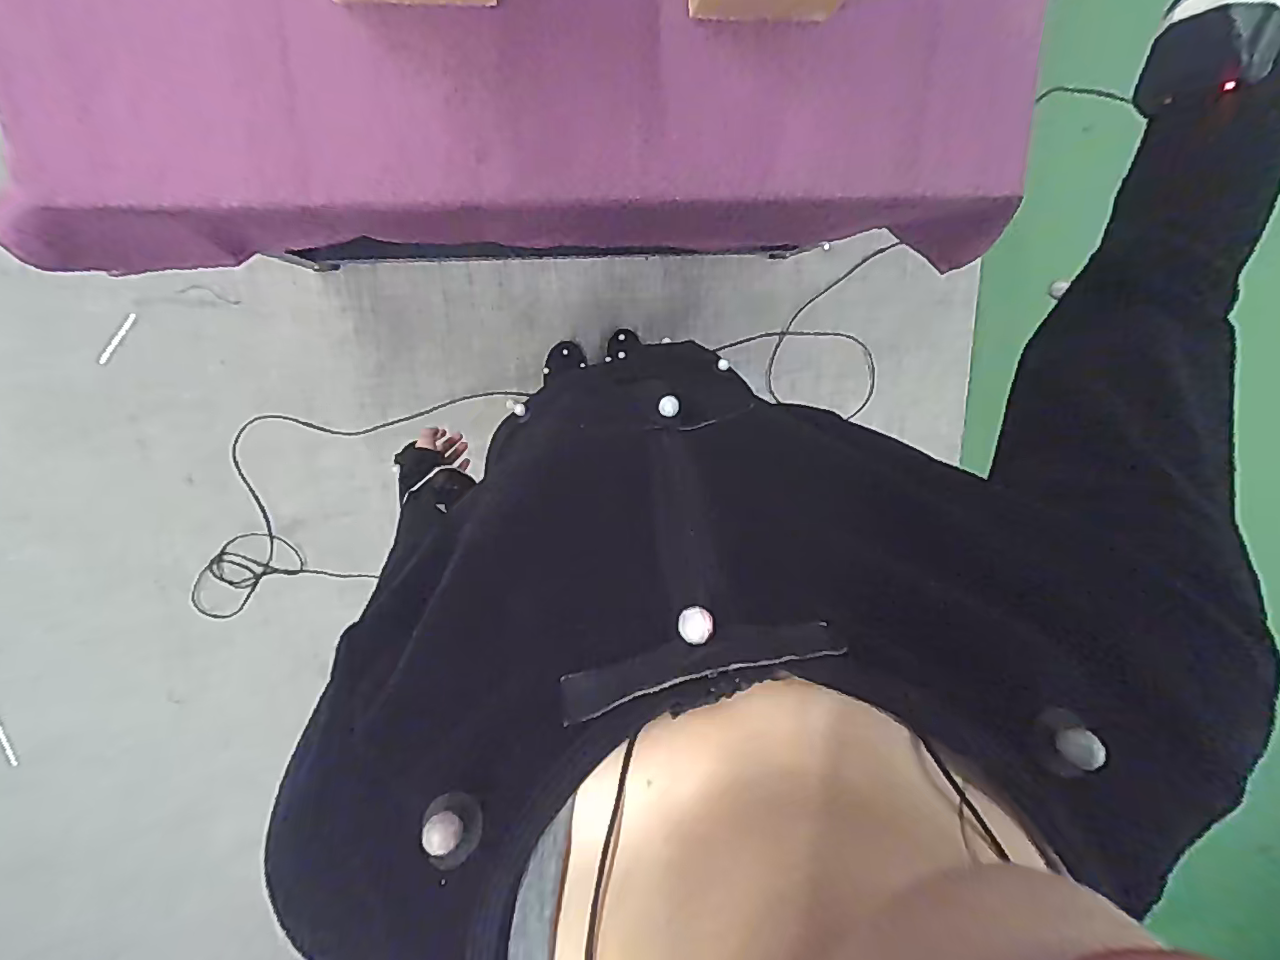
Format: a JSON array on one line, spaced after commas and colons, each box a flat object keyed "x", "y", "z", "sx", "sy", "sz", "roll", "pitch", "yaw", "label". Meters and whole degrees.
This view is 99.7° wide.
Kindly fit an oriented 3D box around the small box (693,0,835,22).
[{"x": 0.153, "y": -0.610, "z": 0.552, "sx": 0.179, "sy": 0.176, "sz": 0.168, "roll": -6, "pitch": 106, "yaw": -9, "label": "small box"}]

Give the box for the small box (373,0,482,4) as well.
[{"x": -0.233, "y": -0.578, "z": 0.492, "sx": 0.179, "sy": 0.176, "sz": 0.168, "roll": -7, "pitch": 105, "yaw": -9, "label": "small box"}]
